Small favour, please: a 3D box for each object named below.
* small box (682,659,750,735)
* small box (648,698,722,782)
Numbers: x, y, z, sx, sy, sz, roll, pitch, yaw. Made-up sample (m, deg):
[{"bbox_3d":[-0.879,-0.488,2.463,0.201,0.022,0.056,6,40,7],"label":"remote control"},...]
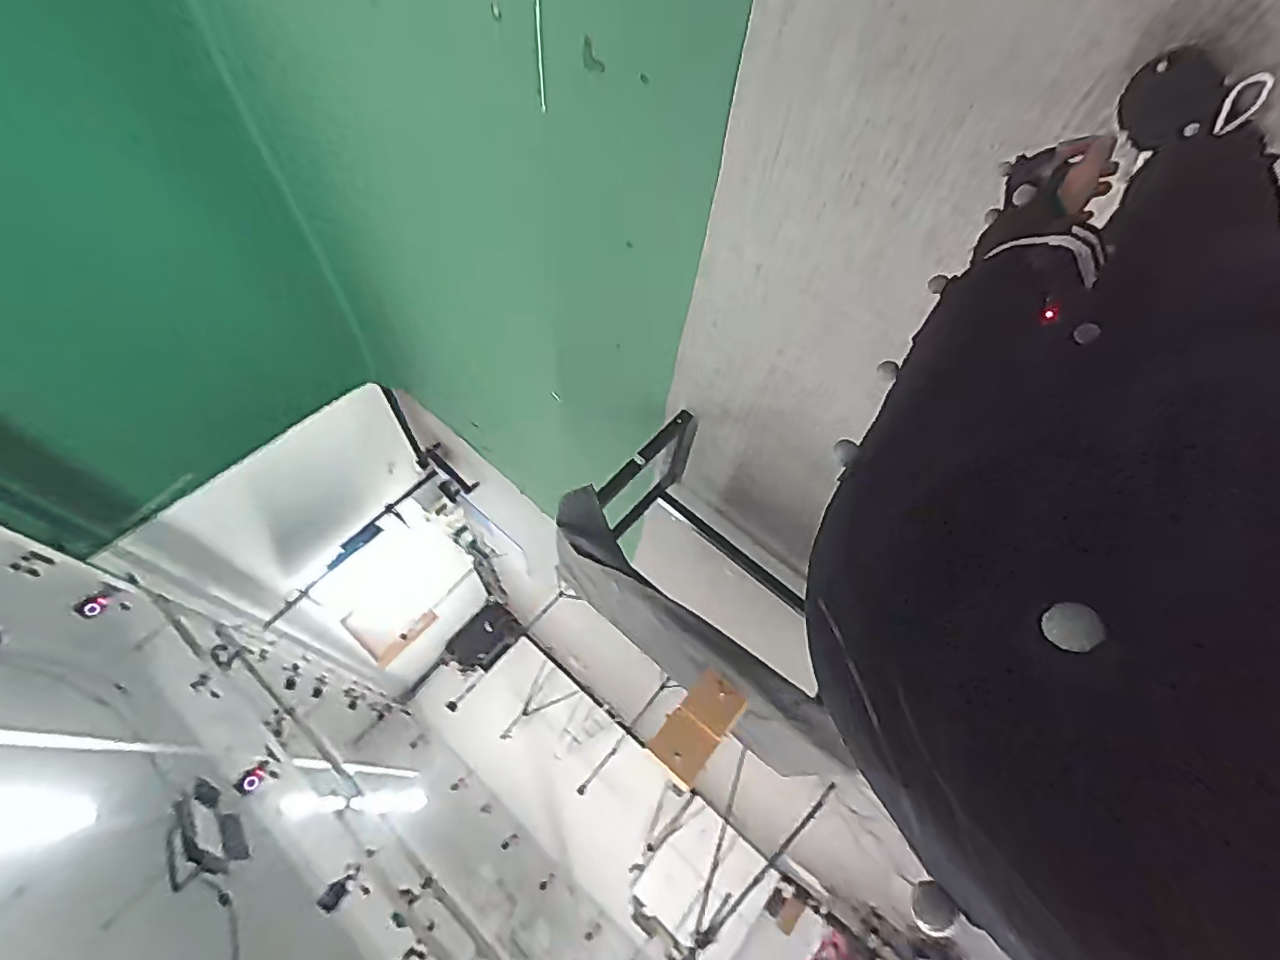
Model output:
[{"bbox_3d":[0.253,0.736,1.816,0.168,0.176,0.179,32,152,23],"label":"small box"},{"bbox_3d":[0.147,0.847,1.762,0.179,0.176,0.168,35,152,20],"label":"small box"}]
